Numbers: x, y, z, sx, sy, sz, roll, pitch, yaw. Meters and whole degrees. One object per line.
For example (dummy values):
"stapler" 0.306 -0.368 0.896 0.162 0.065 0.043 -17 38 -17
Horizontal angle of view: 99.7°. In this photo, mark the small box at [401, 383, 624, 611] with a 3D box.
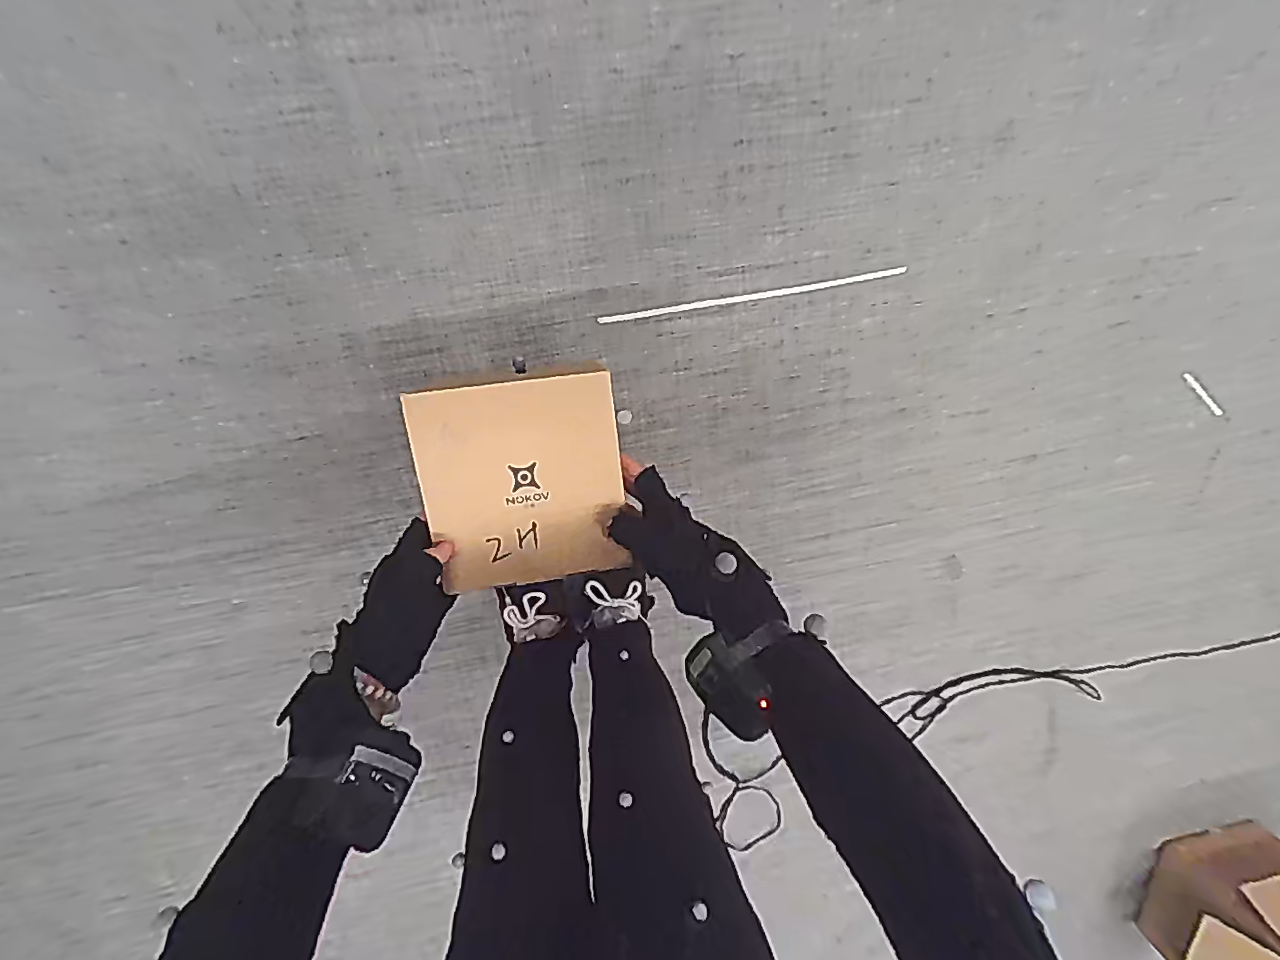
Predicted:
"small box" -0.113 0.001 0.525 0.168 0.176 0.179 -7 105 -7
